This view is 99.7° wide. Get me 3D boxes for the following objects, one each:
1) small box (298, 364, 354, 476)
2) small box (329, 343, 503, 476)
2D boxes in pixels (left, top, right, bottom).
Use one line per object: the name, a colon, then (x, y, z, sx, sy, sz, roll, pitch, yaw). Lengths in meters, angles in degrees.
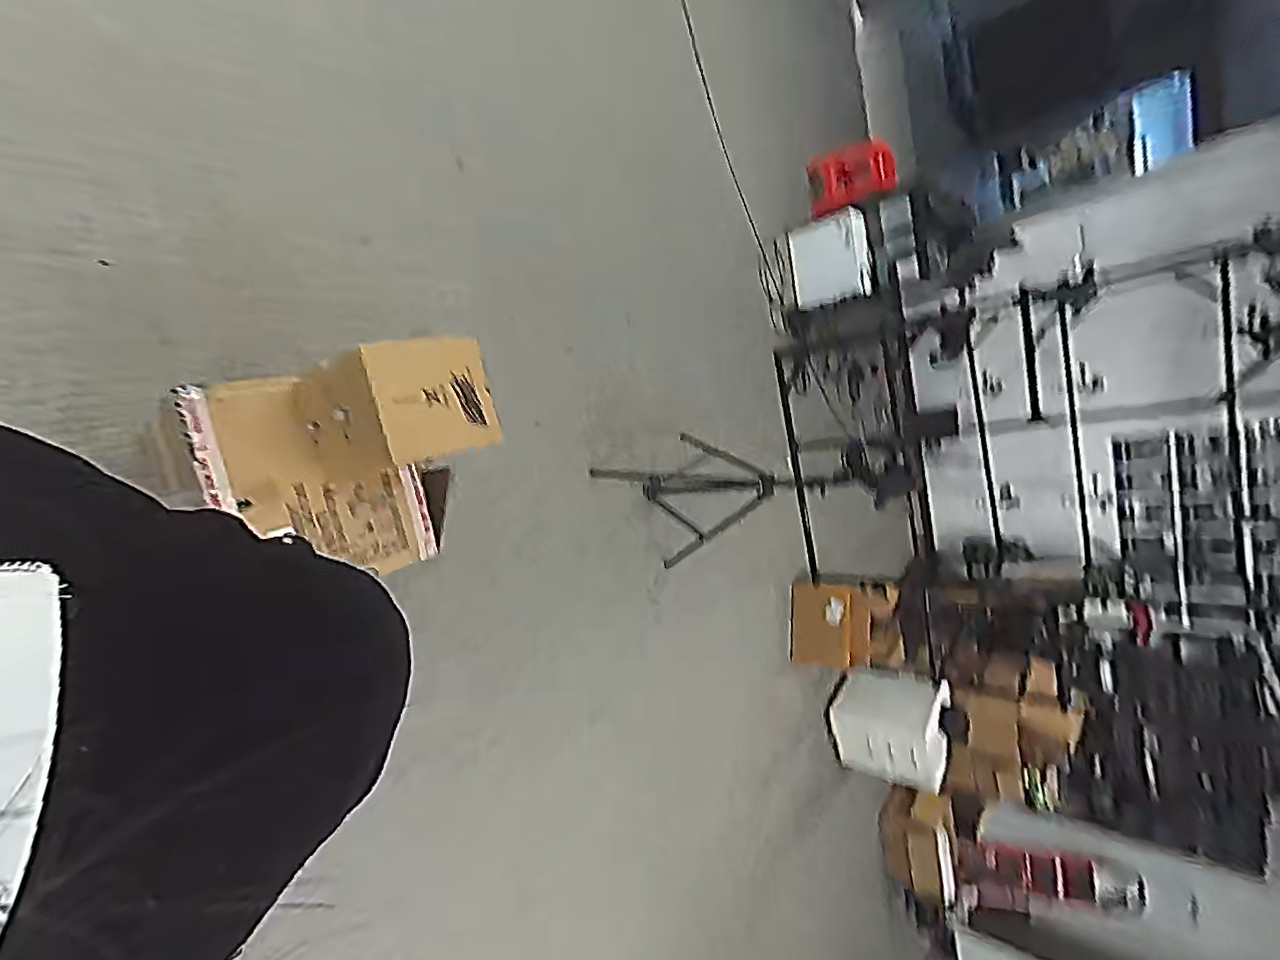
small box: (-0.460, -0.111, 0.945, 0.179, 0.176, 0.168, -23, 102, -43)
small box: (-0.343, -0.106, 0.828, 0.179, 0.176, 0.168, -19, 99, -44)
